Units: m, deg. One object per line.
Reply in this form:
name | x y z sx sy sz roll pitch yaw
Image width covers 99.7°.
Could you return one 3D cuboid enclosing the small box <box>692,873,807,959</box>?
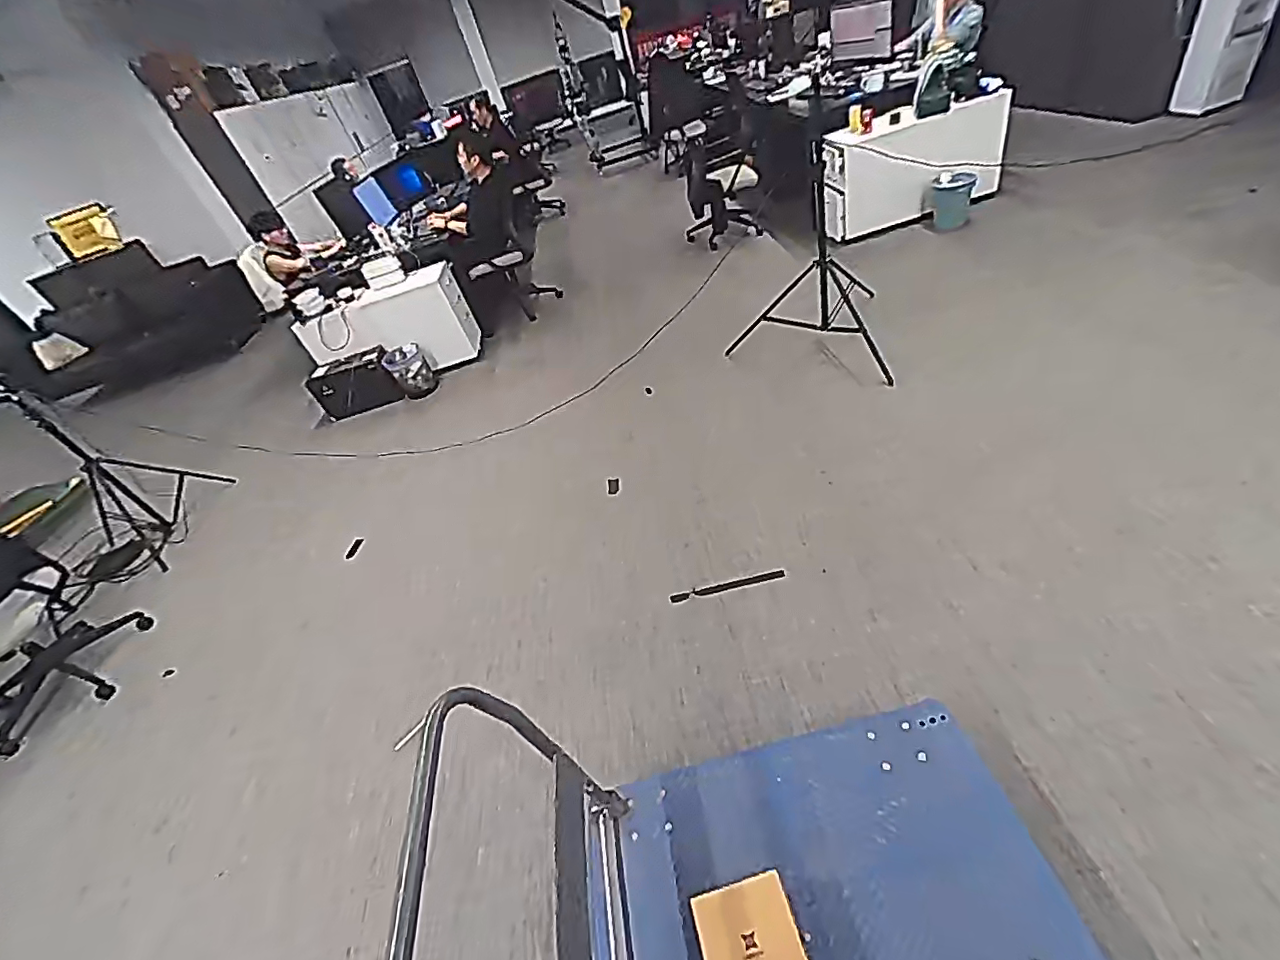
small box | 0.204 0.835 0.948 0.168 0.176 0.179 -19 40 0
